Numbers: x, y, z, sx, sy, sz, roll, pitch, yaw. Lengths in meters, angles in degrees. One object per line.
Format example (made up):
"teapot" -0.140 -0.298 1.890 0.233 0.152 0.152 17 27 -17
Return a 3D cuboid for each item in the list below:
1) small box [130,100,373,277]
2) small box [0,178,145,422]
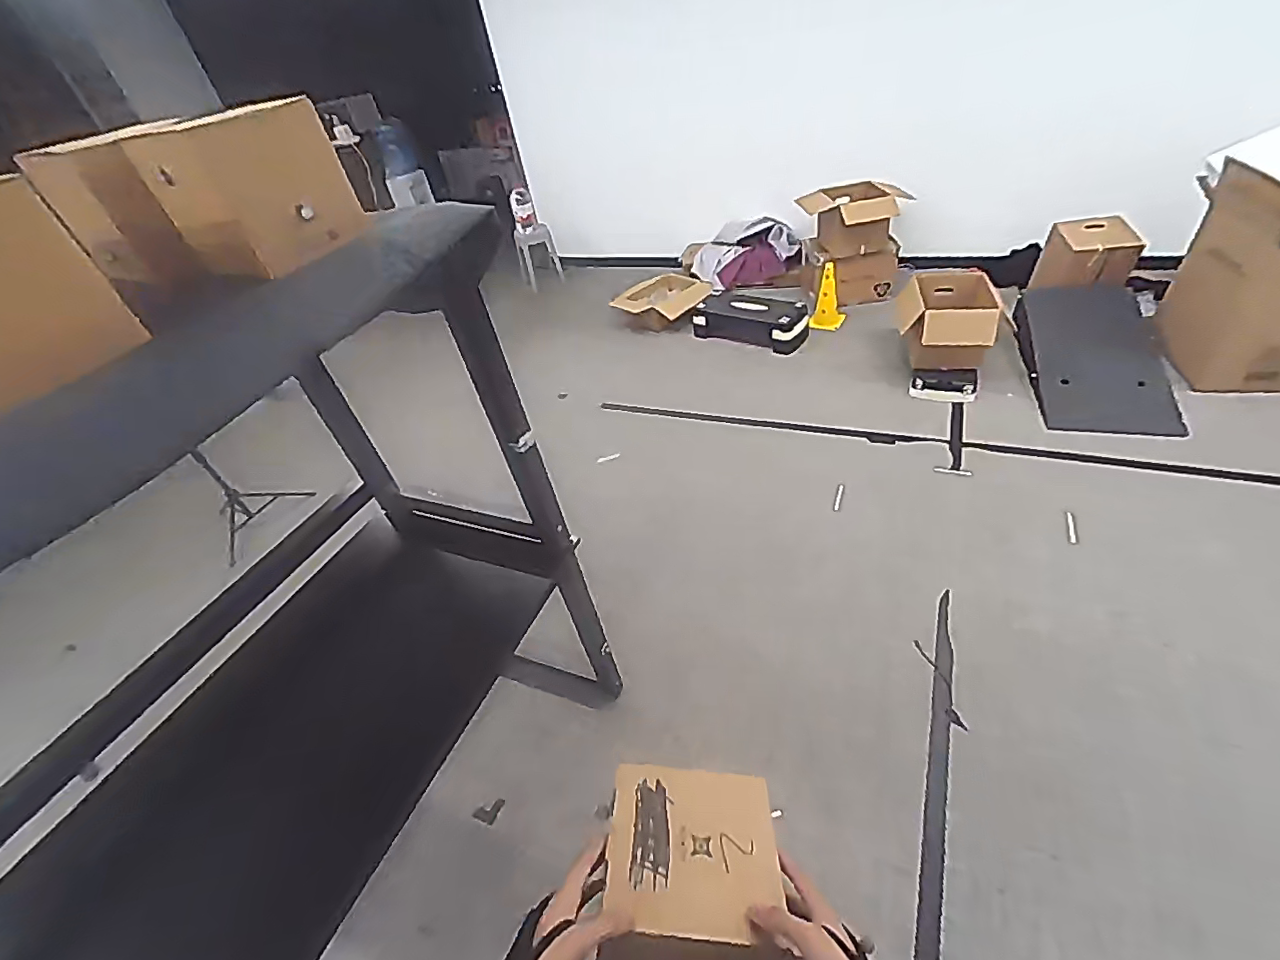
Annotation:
"small box" -0.509 -0.389 0.729 0.179 0.176 0.168 16 49 28
"small box" -0.648 -0.175 0.527 0.168 0.176 0.179 10 46 23
